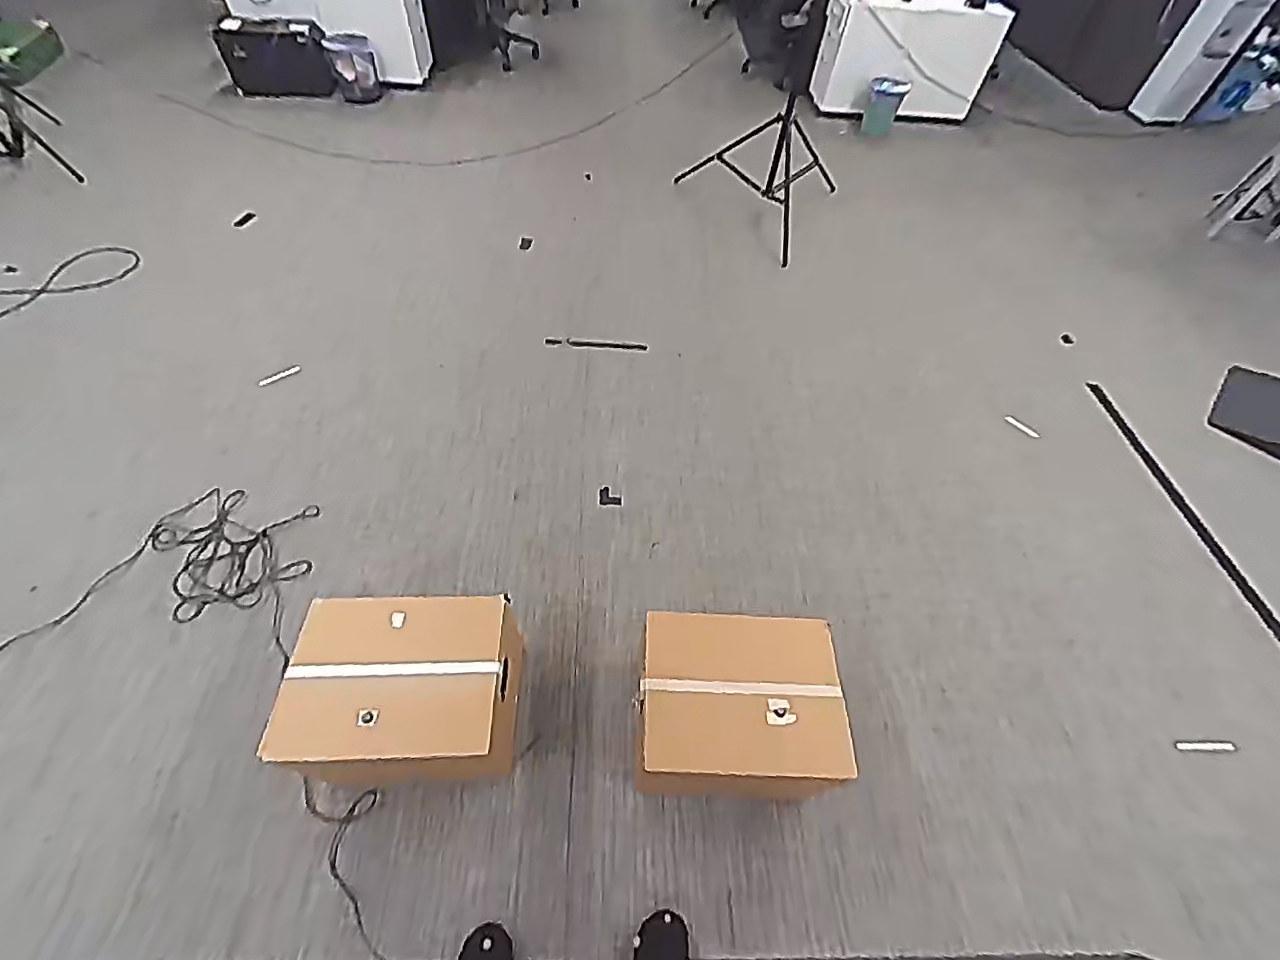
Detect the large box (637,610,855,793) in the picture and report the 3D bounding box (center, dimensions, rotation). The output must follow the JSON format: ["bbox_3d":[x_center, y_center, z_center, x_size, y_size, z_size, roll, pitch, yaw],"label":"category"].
[{"bbox_3d":[0.203,0.508,1.220,0.408,0.320,0.320,4,54,-3],"label":"large box"}]
